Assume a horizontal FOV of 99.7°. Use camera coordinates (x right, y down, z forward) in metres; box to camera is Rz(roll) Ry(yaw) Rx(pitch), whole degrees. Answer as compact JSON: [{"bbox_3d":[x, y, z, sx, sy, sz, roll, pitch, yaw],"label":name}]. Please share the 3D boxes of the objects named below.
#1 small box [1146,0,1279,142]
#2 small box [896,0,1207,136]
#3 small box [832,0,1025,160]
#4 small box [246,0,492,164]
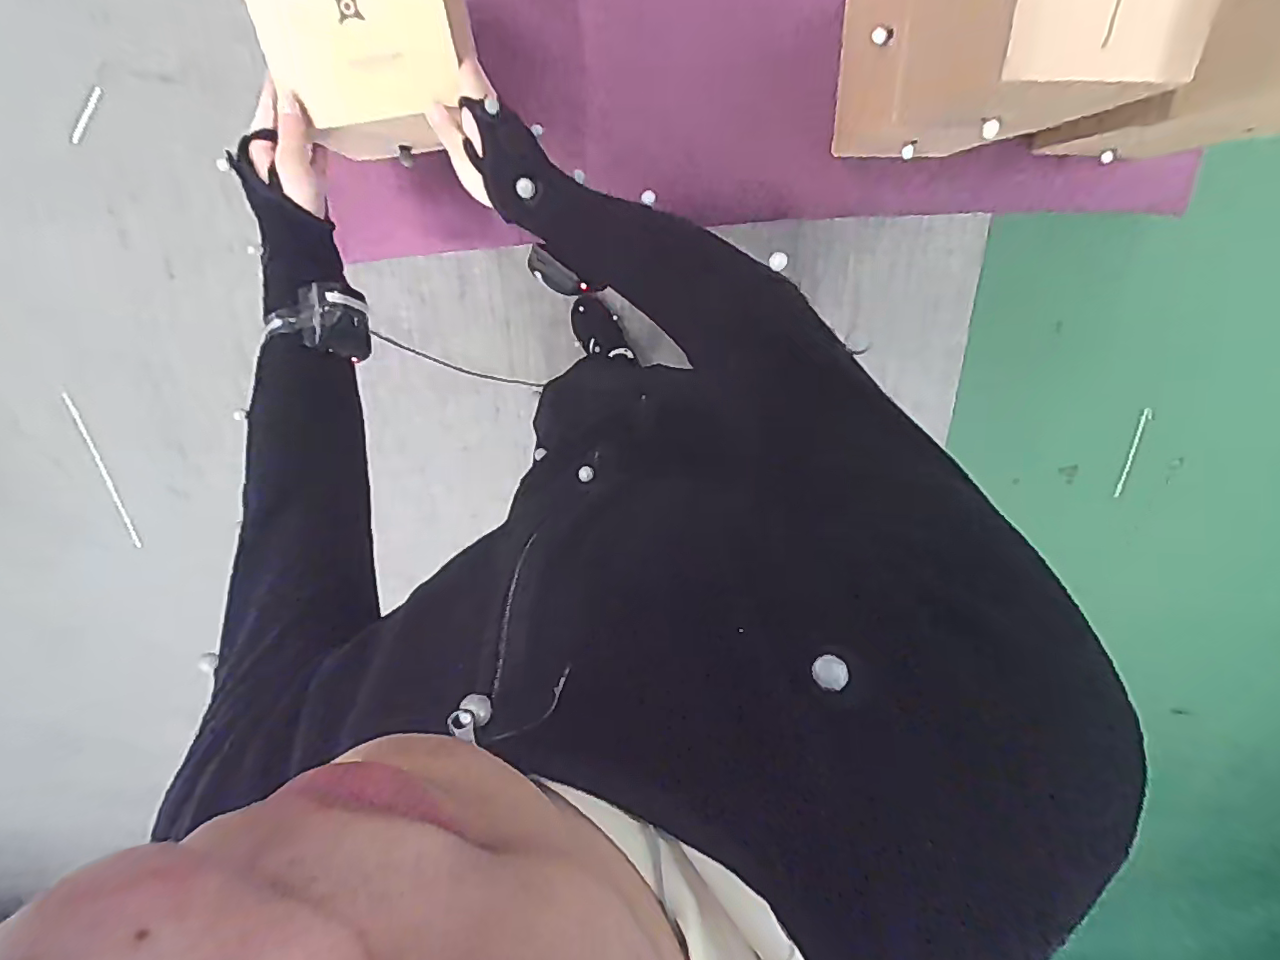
[{"bbox_3d":[0.636,-0.435,0.499,0.168,0.176,0.179,0,111,-4],"label":"small box"},{"bbox_3d":[0.354,-0.428,0.480,0.168,0.176,0.179,-2,112,-4],"label":"small box"},{"bbox_3d":[0.340,-0.486,0.633,0.168,0.176,0.179,-3,111,-4],"label":"small box"},{"bbox_3d":[-0.258,-0.435,0.536,0.168,0.176,0.179,-10,113,-1],"label":"small box"}]
